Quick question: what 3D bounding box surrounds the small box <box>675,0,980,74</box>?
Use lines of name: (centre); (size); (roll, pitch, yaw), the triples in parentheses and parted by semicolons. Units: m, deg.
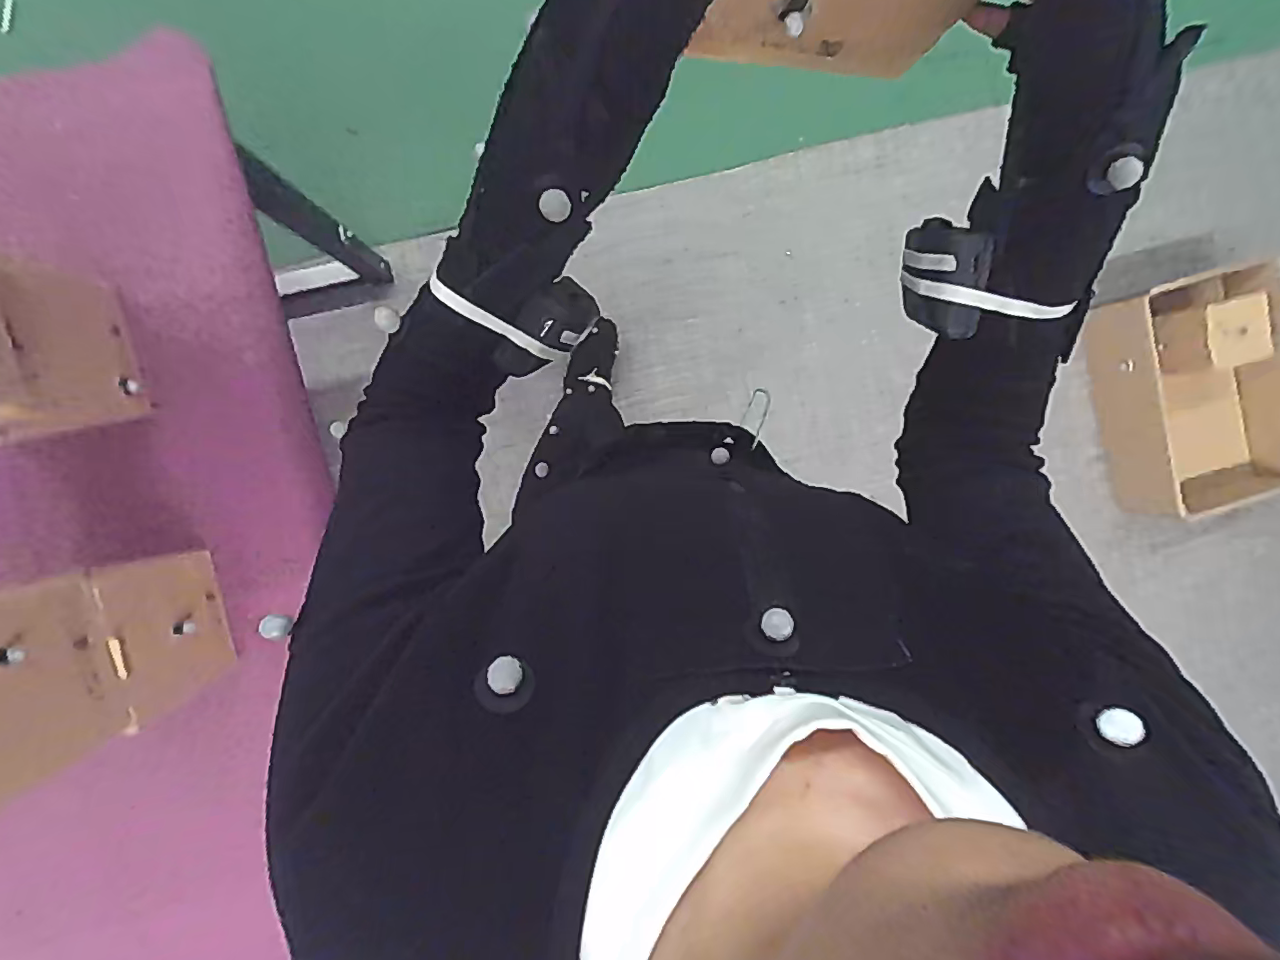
small box: (0.114, -0.347, 0.262); (0.168, 0.176, 0.179); (3, 103, -7)

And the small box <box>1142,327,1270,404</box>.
small box: (1.507, -0.301, 1.446); (0.179, 0.176, 0.168); (-11, 96, -5)
